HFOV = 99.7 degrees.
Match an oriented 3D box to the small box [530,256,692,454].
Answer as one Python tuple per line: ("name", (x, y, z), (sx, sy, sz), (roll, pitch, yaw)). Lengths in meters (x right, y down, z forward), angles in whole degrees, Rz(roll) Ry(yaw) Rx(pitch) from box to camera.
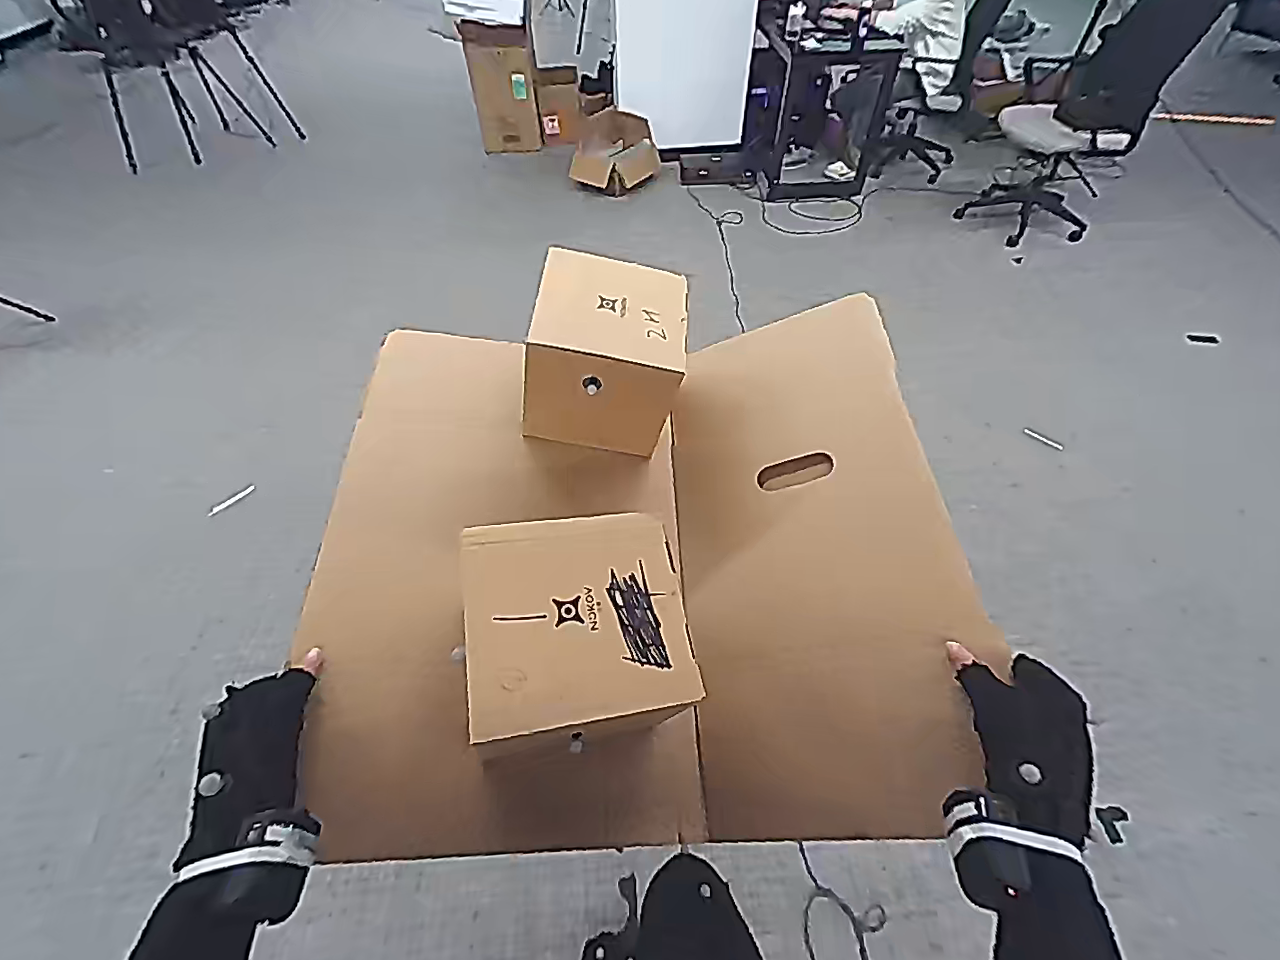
("small box", (-0.041, -0.152, 0.698), (0.179, 0.176, 0.168), (11, 57, -8))

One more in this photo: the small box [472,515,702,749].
("small box", (-0.063, 0.146, 0.511), (0.179, 0.176, 0.168), (-4, 61, -15))
